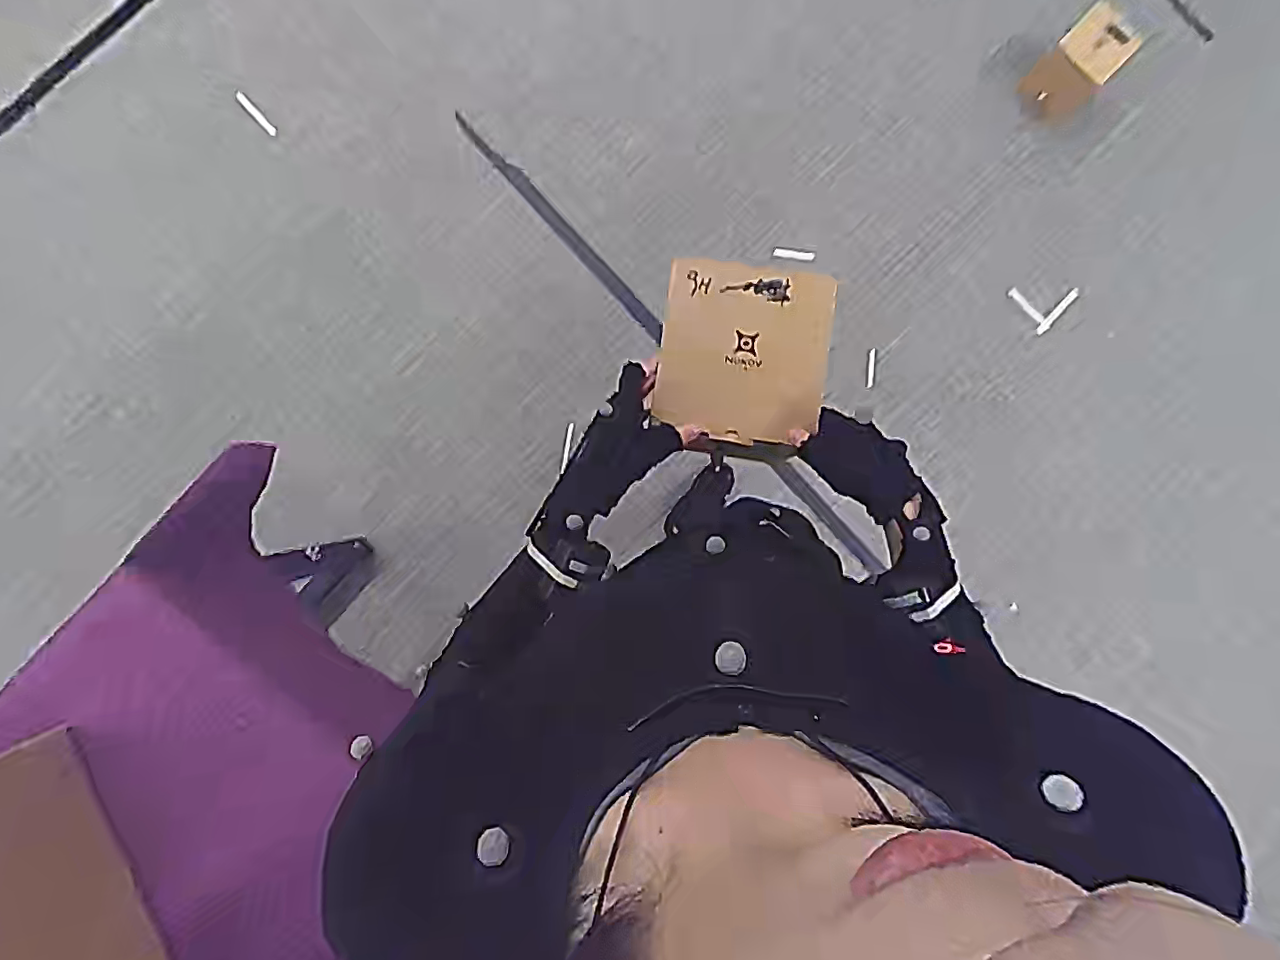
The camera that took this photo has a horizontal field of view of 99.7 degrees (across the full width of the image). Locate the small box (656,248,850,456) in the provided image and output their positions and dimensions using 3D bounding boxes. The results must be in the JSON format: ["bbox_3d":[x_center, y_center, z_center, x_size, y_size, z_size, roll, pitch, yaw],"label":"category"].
[{"bbox_3d":[0.112,-0.126,0.600,0.168,0.176,0.179,8,88,1],"label":"small box"}]

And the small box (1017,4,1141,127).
[{"bbox_3d":[1.225,-1.157,1.523,0.168,0.176,0.179,44,88,0],"label":"small box"}]
